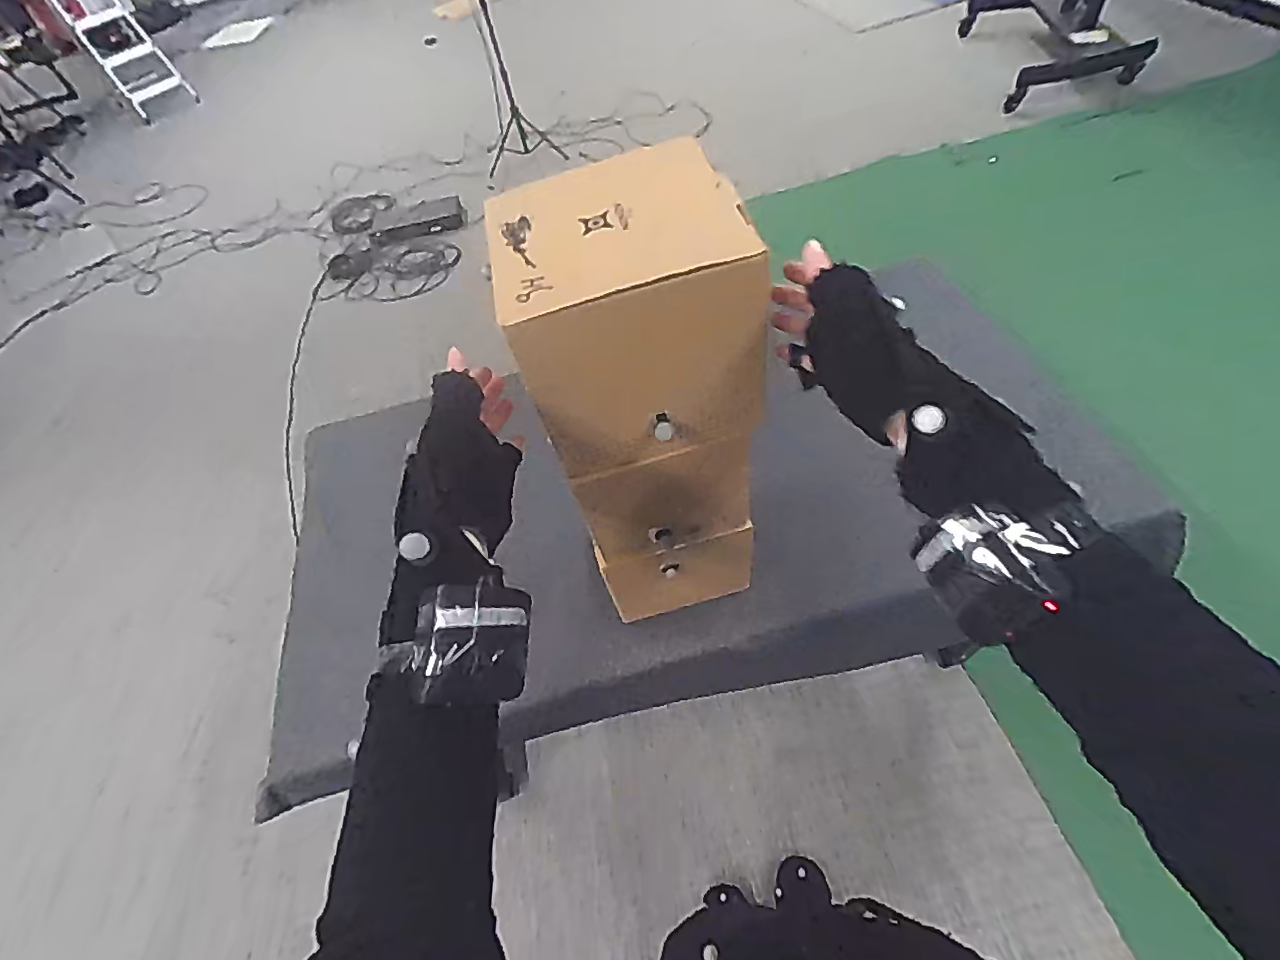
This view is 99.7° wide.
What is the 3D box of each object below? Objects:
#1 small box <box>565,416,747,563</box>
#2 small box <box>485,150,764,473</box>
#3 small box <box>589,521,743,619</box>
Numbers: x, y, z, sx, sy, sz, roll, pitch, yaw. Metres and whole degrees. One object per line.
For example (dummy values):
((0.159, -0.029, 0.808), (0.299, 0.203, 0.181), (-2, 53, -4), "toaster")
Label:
((0.006, -0.039, 0.582), (0.168, 0.176, 0.179), (-18, 56, -1), "small box")
((-0.012, -0.132, 0.447), (0.179, 0.176, 0.168), (-15, 53, -1), "small box")
((0.030, 0.068, 0.723), (0.179, 0.176, 0.168), (-15, 55, -2), "small box")
